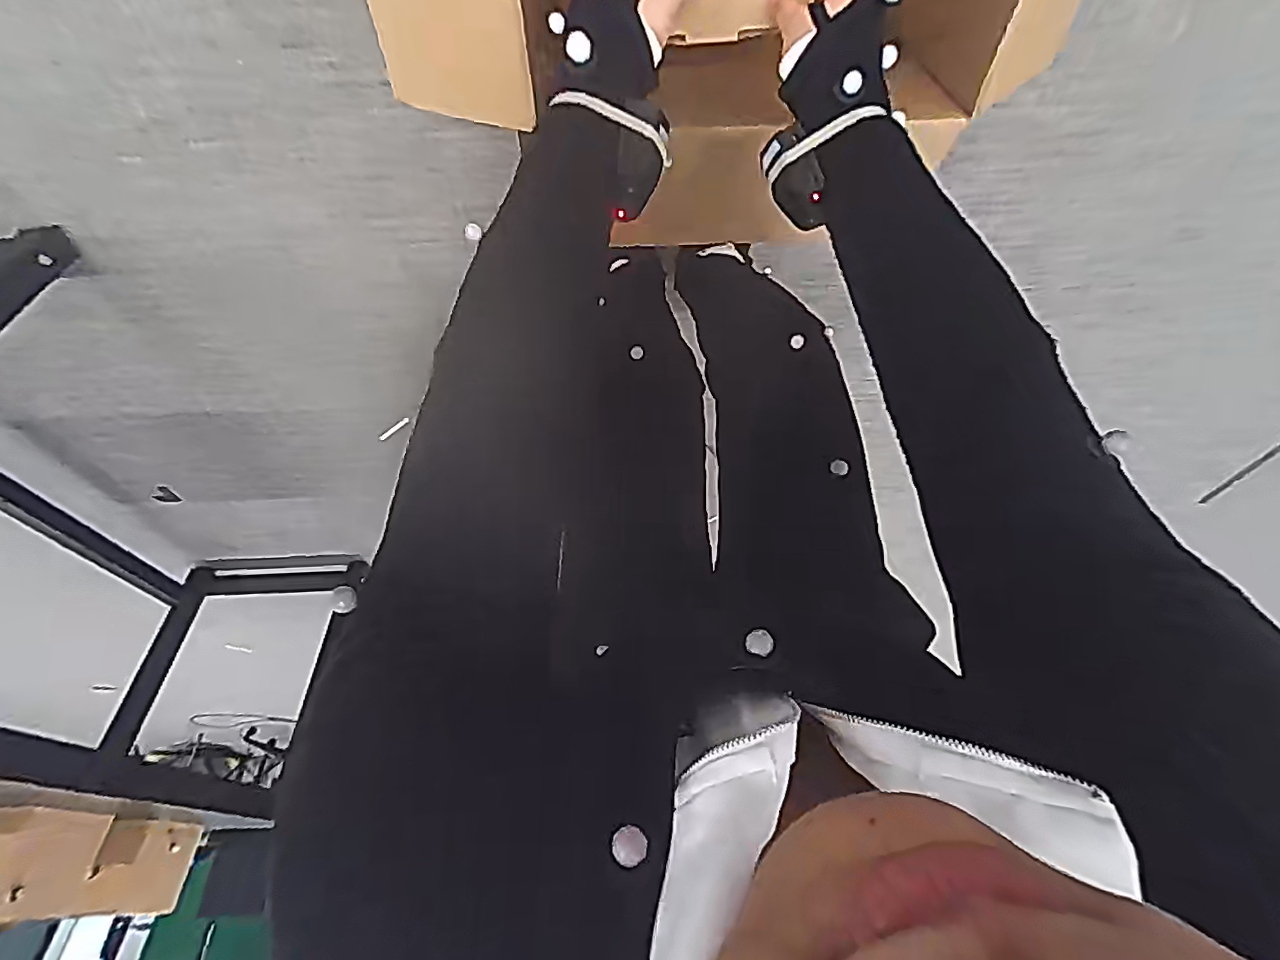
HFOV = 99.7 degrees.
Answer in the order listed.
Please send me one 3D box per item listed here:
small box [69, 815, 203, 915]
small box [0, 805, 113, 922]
[{"bbox_3d":[-1.138,0.854,1.201,0.179,0.176,0.168,-4,144,1],"label":"small box"},{"bbox_3d":[-1.146,0.697,0.986,0.168,0.176,0.179,-2,143,1],"label":"small box"}]
